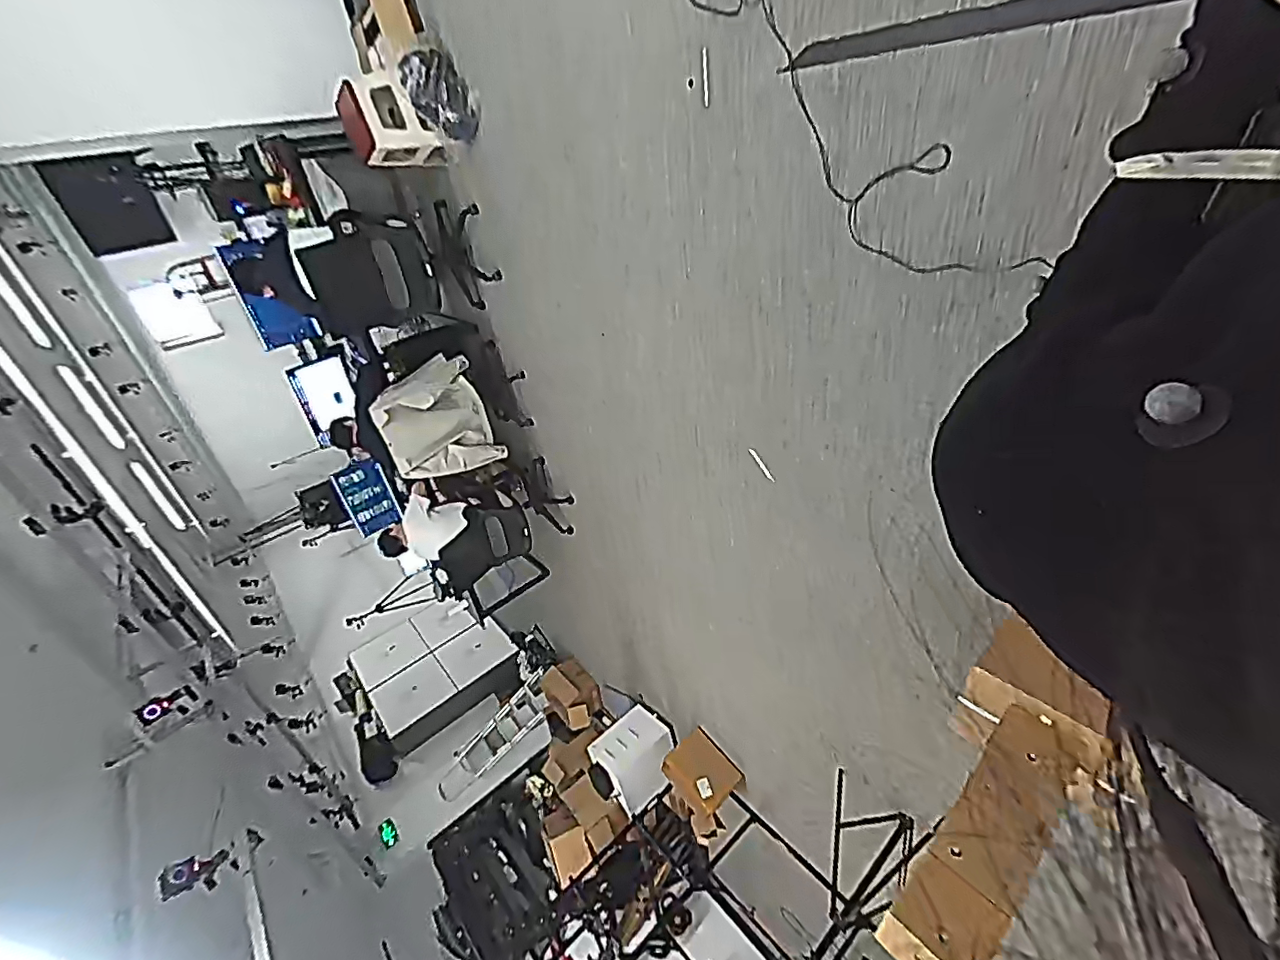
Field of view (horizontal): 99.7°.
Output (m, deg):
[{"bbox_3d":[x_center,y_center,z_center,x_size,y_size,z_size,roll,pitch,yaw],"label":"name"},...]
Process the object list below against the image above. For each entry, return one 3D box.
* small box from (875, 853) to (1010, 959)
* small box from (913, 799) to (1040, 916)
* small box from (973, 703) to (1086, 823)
[{"bbox_3d":[0.634,0.935,1.140,0.179,0.176,0.168,31,138,39],"label":"small box"},{"bbox_3d":[0.754,0.863,1.221,0.179,0.176,0.168,30,139,40],"label":"small box"},{"bbox_3d":[0.998,0.716,1.386,0.179,0.176,0.168,28,137,43],"label":"small box"}]
